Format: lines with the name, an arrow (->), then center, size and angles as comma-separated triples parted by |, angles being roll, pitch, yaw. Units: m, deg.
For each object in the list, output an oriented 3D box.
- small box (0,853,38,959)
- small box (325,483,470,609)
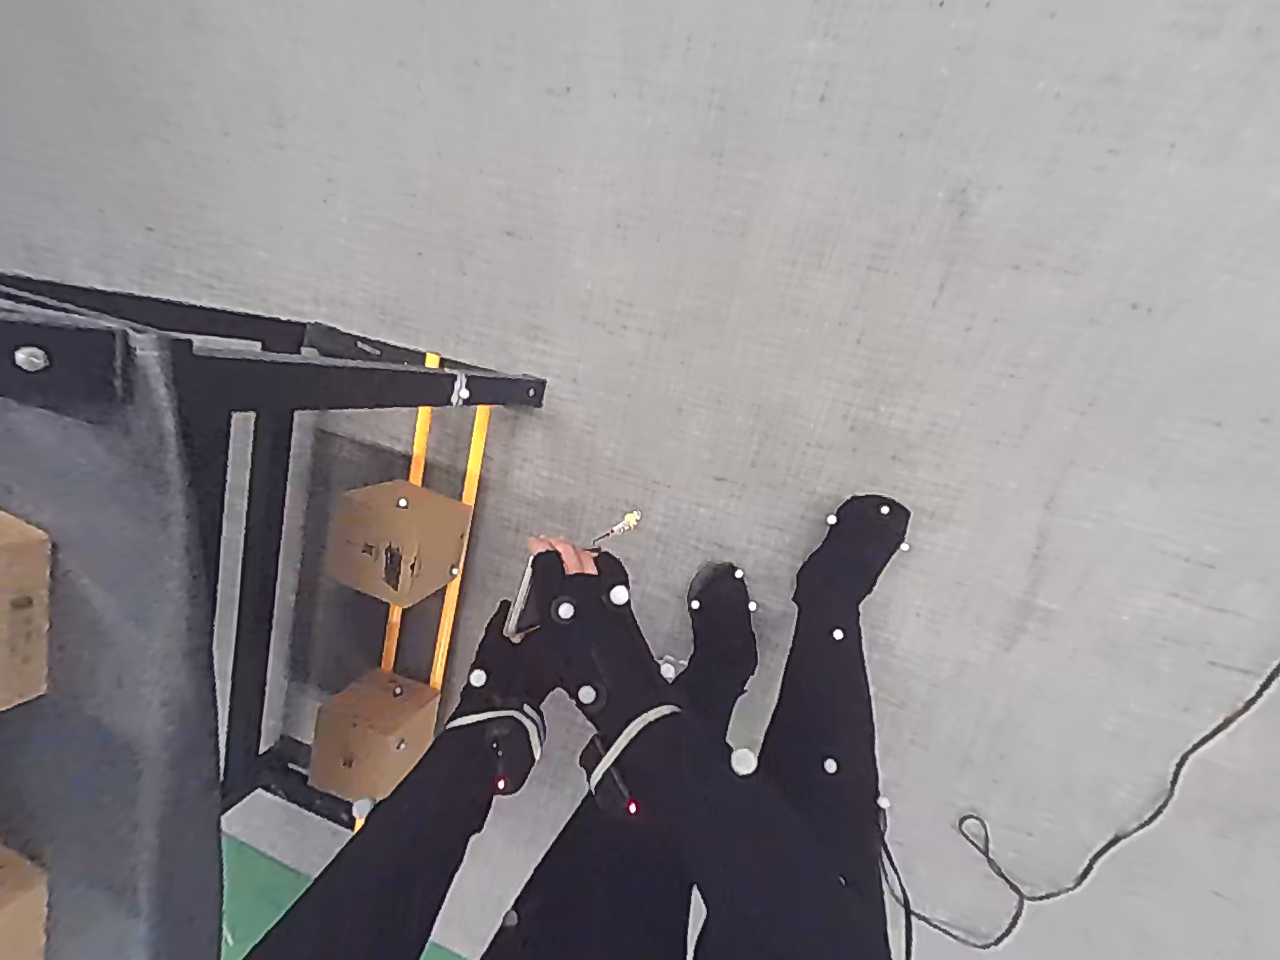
small box -> -0.715, 0.460, 0.494 | 0.168, 0.176, 0.179 | 19, 103, 11
small box -> -0.452, 0.114, 1.027 | 0.179, 0.176, 0.168 | 19, 102, 10
